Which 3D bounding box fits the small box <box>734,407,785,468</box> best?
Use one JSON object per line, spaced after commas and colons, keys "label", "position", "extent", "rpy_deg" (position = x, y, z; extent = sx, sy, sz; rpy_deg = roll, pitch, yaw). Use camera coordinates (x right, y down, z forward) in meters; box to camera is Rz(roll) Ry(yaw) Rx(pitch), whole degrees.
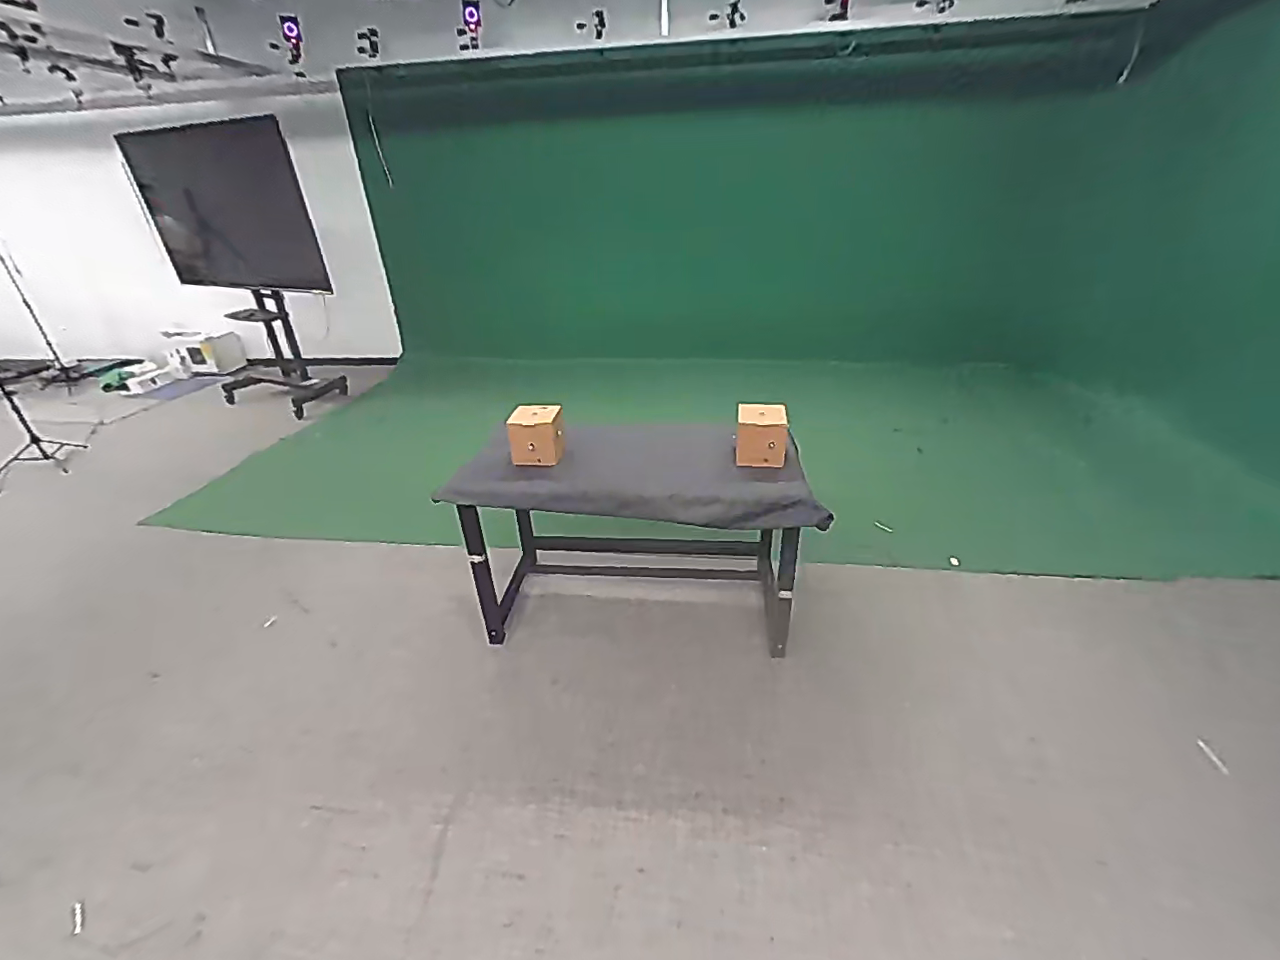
{"label": "small box", "position": [0.426, -0.154, 1.935], "extent": [0.168, 0.176, 0.179], "rpy_deg": [3, 28, 9]}

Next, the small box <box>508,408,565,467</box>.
{"label": "small box", "position": [-0.378, -0.158, 2.014], "extent": [0.168, 0.176, 0.179], "rpy_deg": [1, 29, 5]}
